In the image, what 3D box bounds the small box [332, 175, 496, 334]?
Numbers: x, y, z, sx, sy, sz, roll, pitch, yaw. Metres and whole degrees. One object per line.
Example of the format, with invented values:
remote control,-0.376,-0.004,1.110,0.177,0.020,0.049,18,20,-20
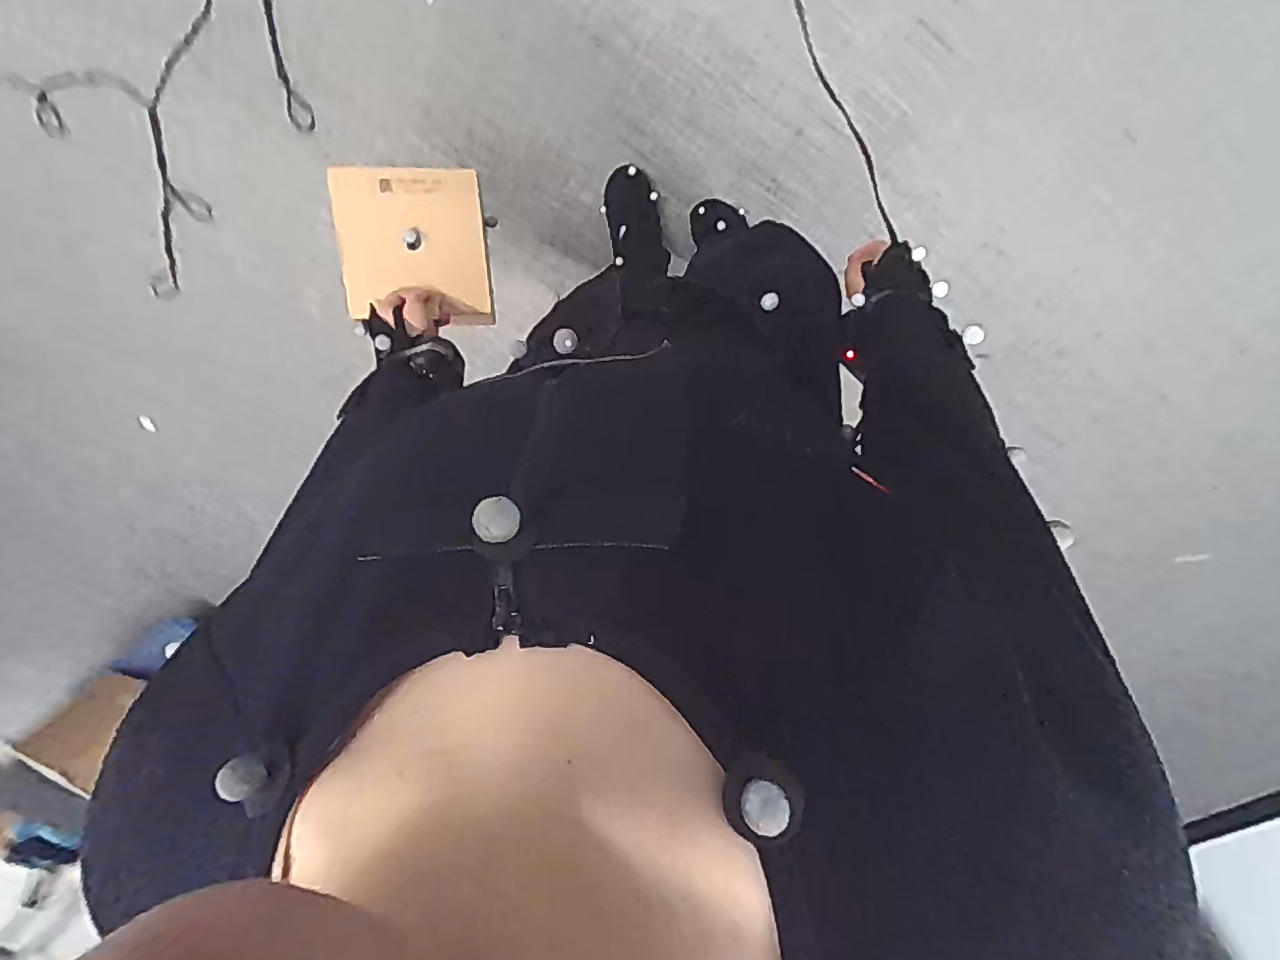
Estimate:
small box,-0.288,-0.293,0.721,0.168,0.179,0.176,-7,104,-13
